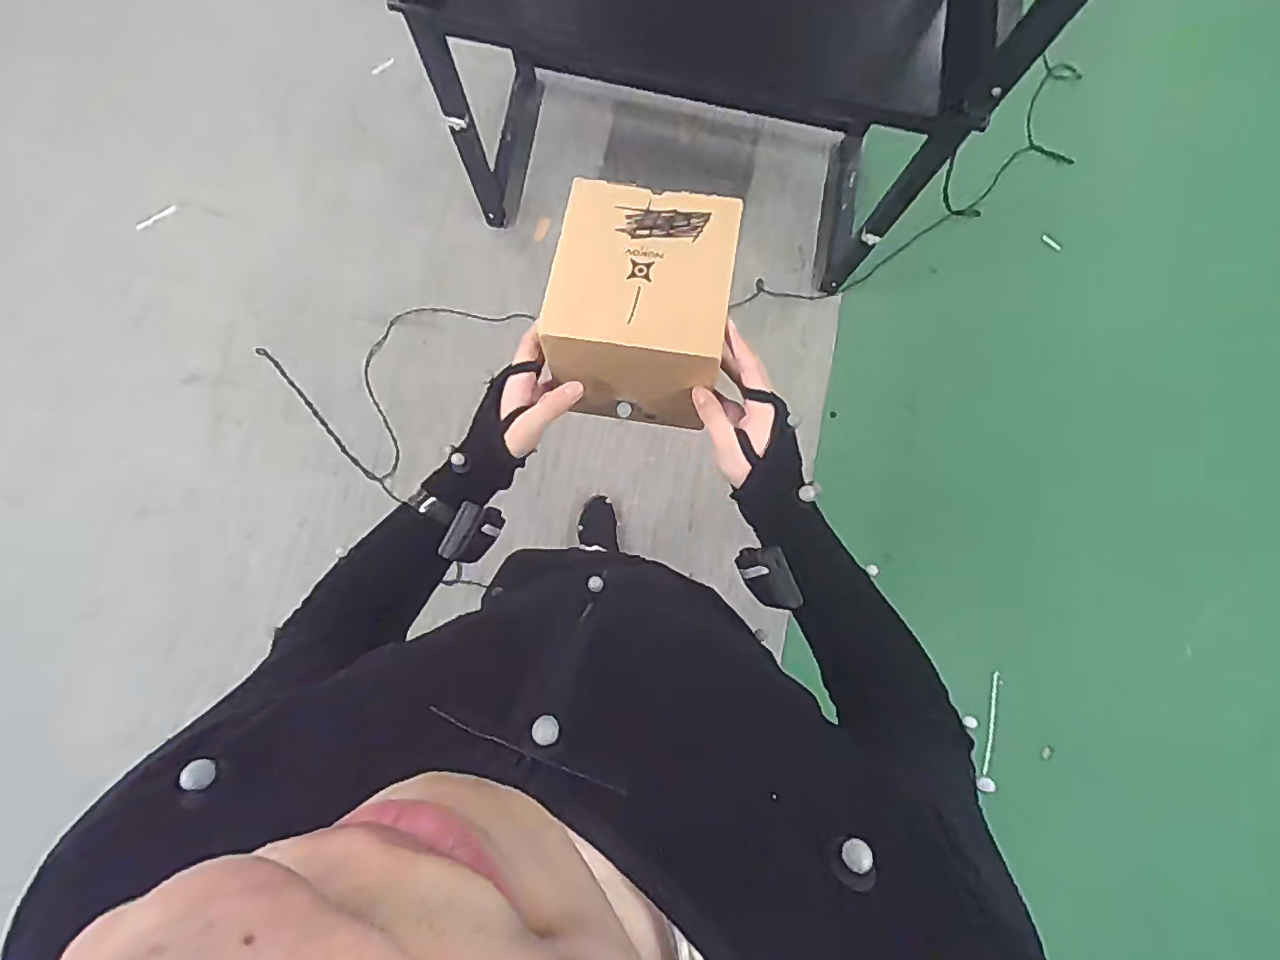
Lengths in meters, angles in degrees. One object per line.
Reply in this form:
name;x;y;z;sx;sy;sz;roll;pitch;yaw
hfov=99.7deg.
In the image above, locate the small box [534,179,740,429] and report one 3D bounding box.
small box;0.001;-0.174;0.571;0.168;0.176;0.179;10;74;4
